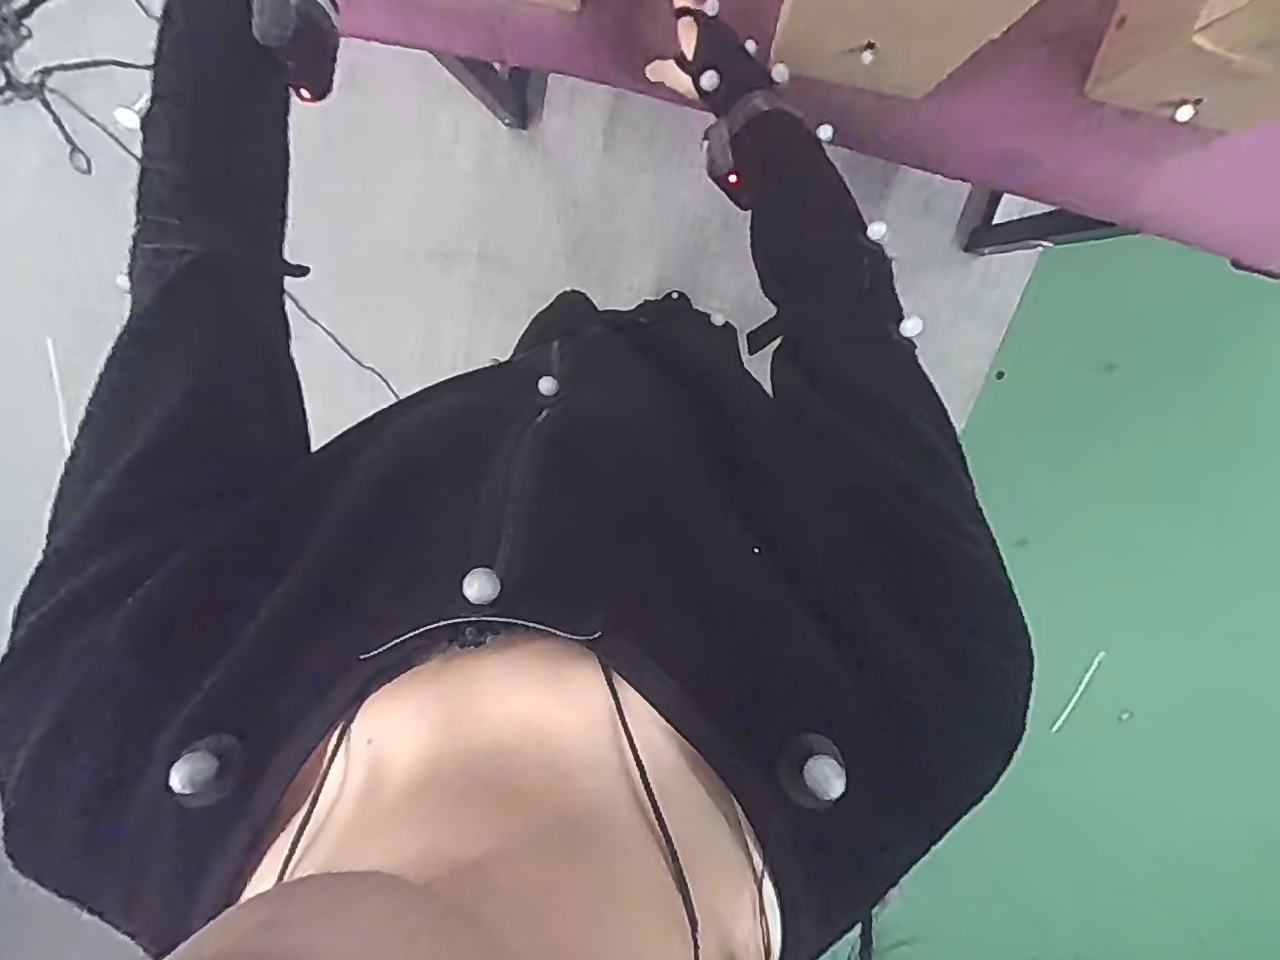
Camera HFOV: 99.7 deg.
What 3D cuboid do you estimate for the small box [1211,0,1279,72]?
[{"bbox_3d":[0.540,-0.380,0.332,0.168,0.176,0.179,21,108,-1],"label":"small box"}]

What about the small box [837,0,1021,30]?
[{"bbox_3d":[0.218,-0.433,0.343,0.179,0.176,0.168,14,106,1],"label":"small box"}]

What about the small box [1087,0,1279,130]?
[{"bbox_3d":[0.572,-0.442,0.483,0.179,0.176,0.168,14,106,2],"label":"small box"}]
